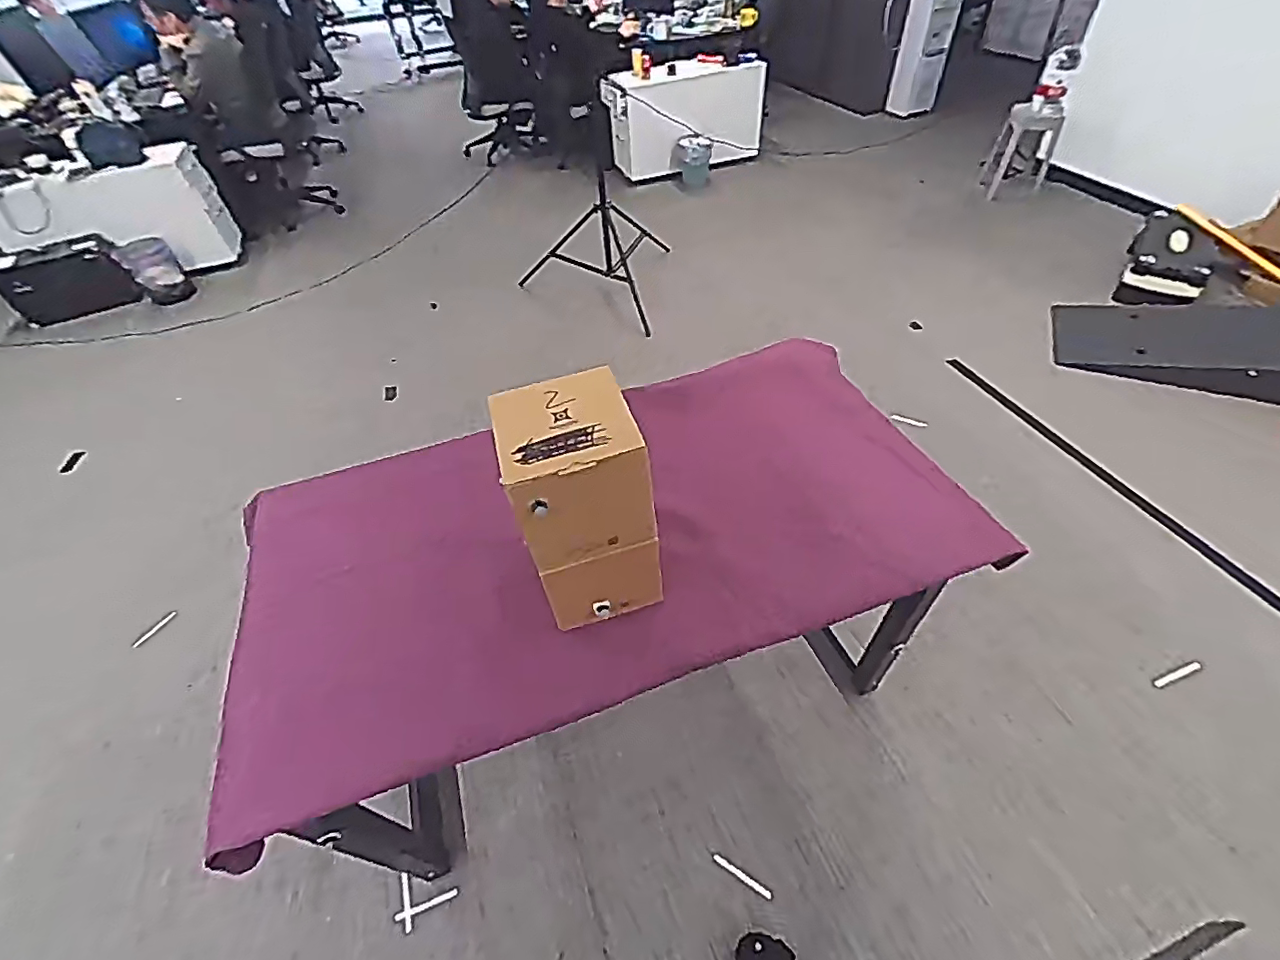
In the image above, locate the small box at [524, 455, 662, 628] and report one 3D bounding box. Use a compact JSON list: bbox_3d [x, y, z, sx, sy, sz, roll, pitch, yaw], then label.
[{"bbox_3d":[-0.070,0.095,0.831,0.168,0.176,0.179,-16,49,-9],"label":"small box"}]
